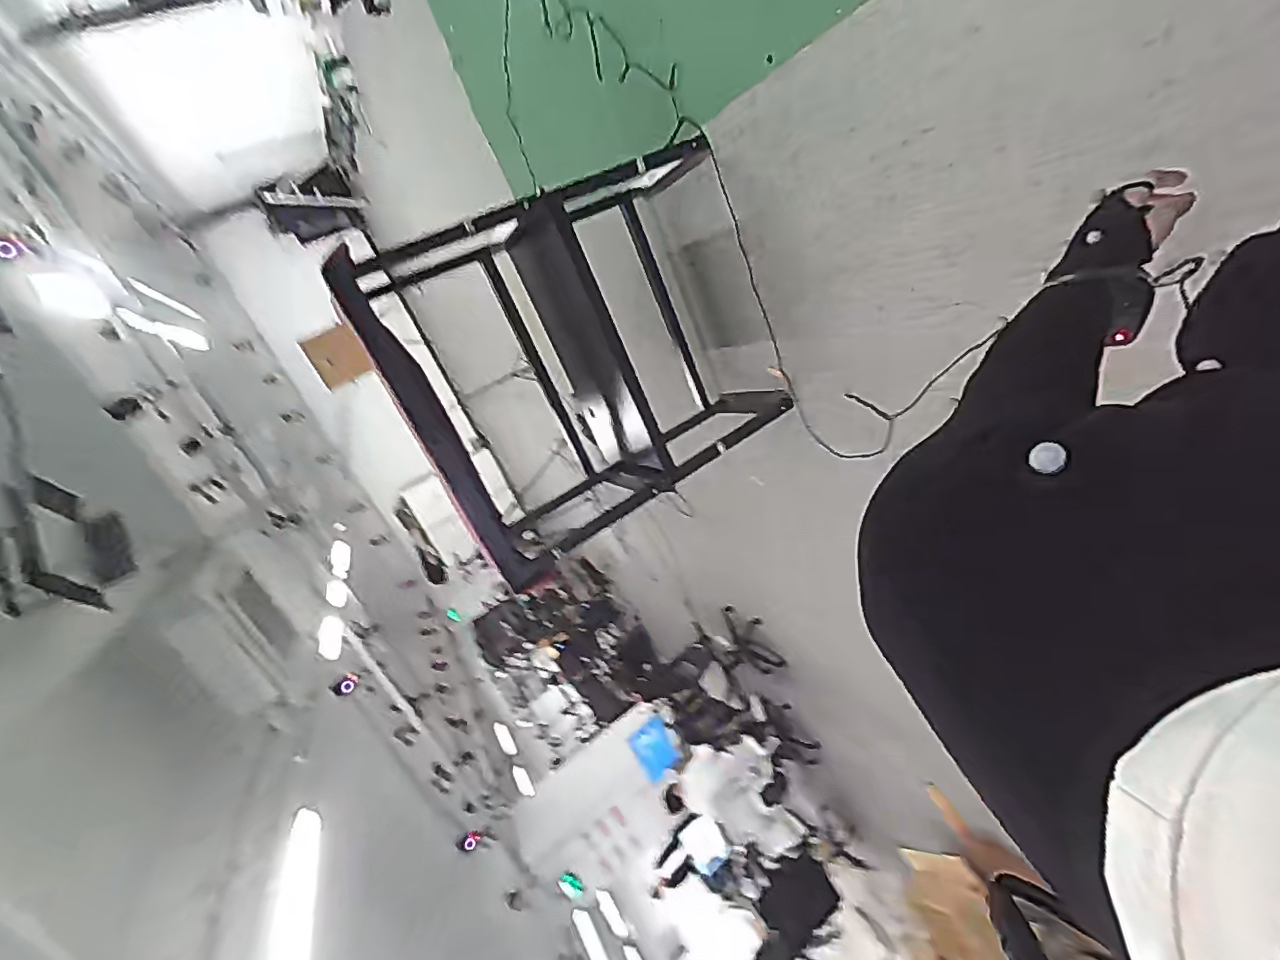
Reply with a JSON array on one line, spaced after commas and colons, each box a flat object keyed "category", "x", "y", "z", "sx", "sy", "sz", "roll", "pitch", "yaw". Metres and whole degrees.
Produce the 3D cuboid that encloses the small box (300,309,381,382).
[{"category": "small box", "x": -0.963, "y": -0.438, "z": 1.754, "sx": 0.168, "sy": 0.176, "sz": 0.179, "roll": 24, "pitch": 141, "yaw": 60}]
